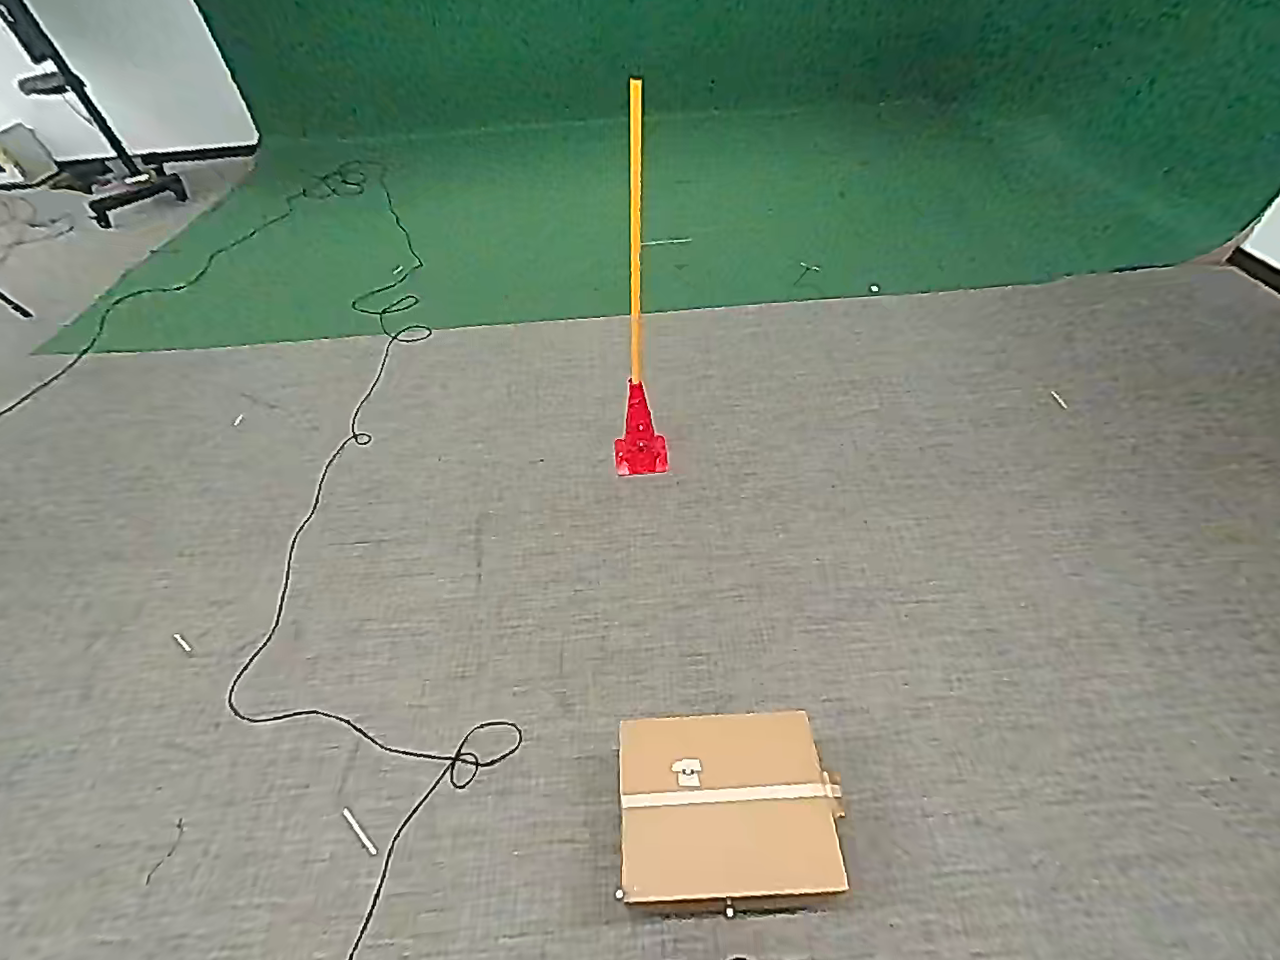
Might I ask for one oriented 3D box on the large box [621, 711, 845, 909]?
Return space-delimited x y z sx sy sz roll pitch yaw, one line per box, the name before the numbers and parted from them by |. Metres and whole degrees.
large box | 0.174 0.722 1.176 0.408 0.320 0.320 -4 48 1
